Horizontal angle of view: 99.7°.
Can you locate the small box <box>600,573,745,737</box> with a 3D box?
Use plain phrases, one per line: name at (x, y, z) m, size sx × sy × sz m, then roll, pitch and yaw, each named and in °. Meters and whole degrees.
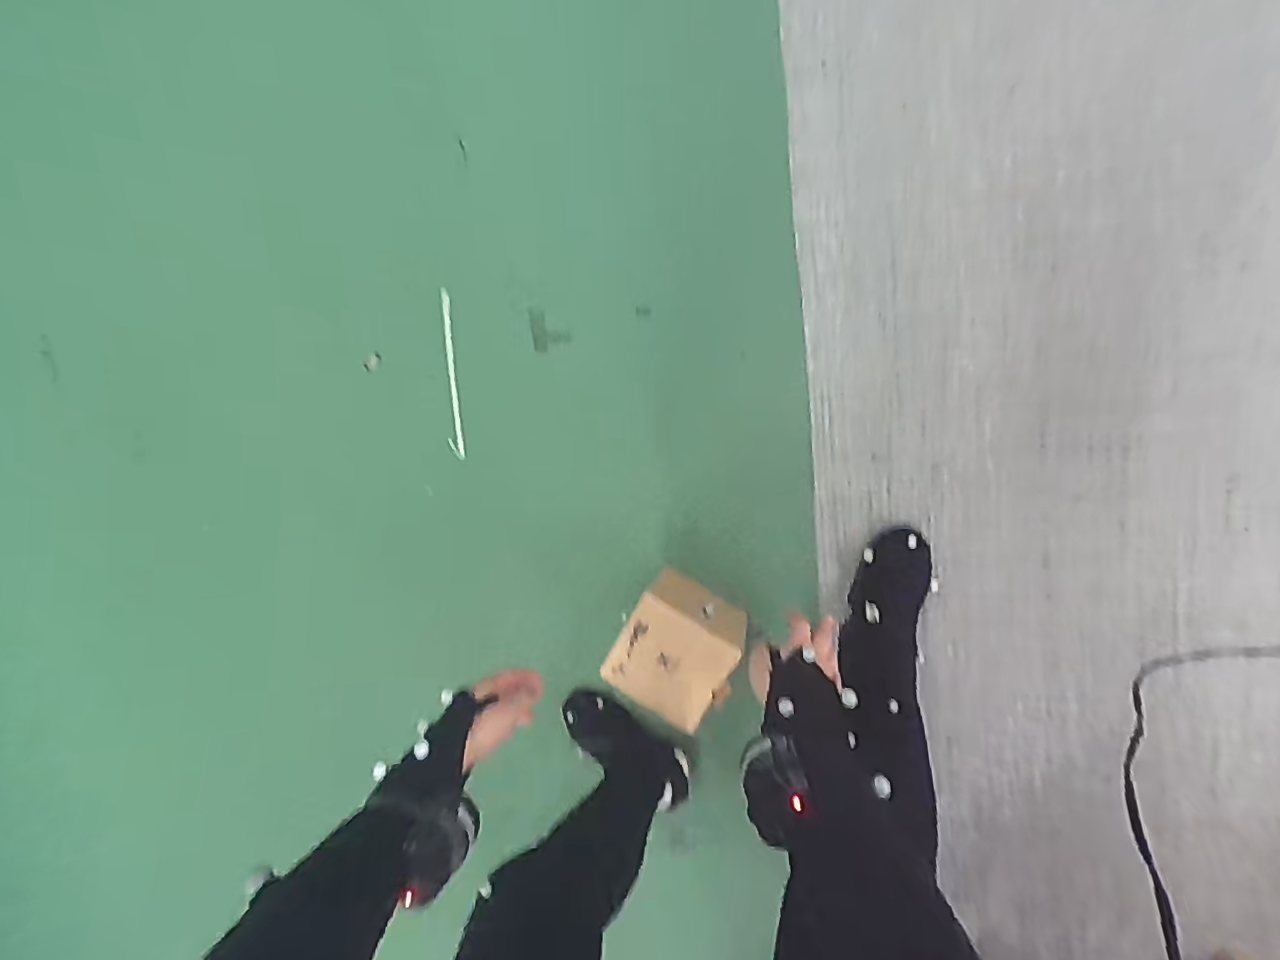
small box at (0.063, 0.280, 0.911) m, size 0.179 × 0.176 × 0.168 m, roll 31°, pitch 101°, yaw 8°
